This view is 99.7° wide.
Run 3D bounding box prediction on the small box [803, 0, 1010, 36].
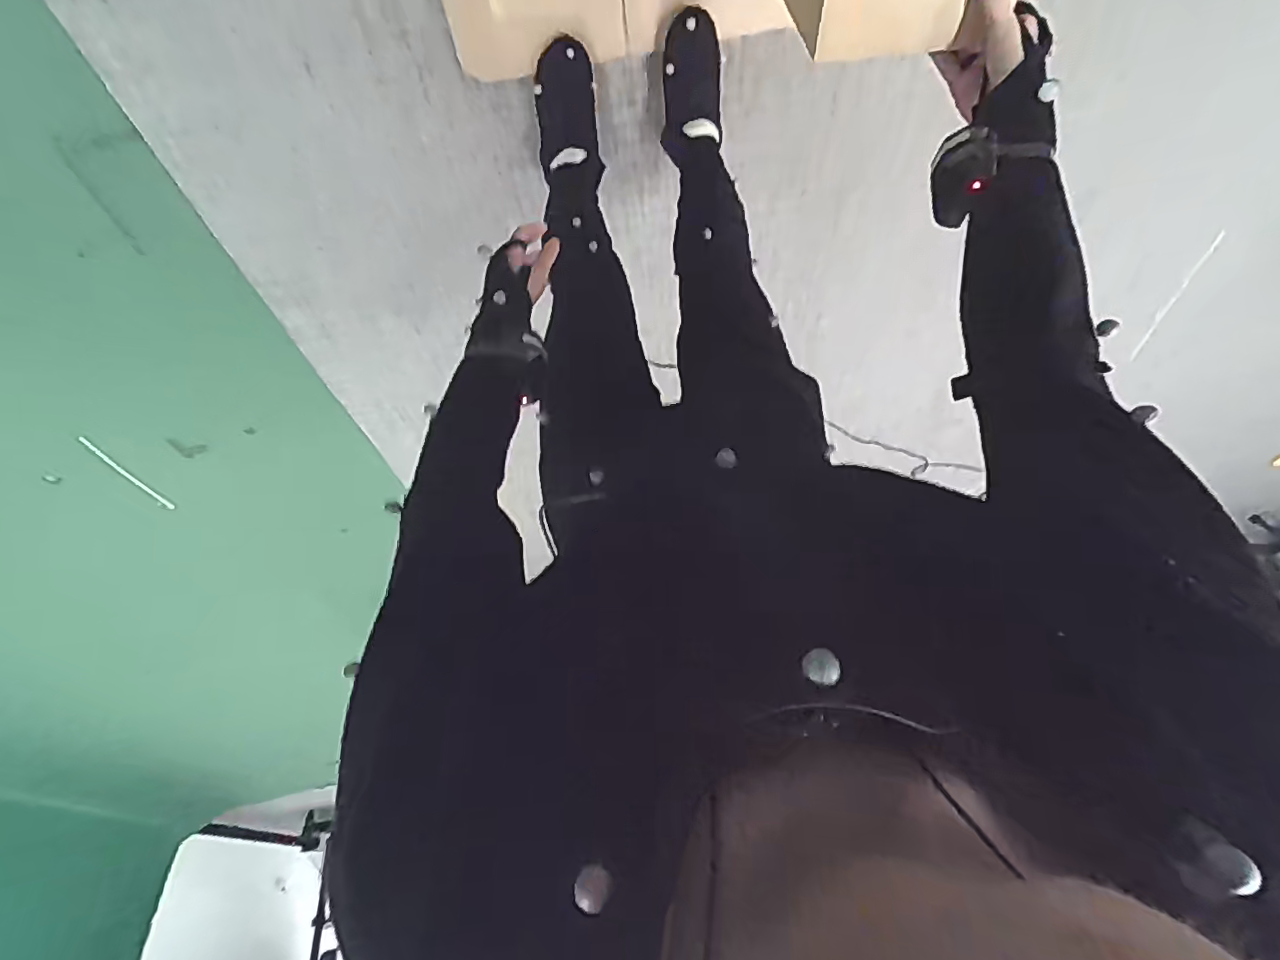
[{"bbox_3d":[0.227,-0.509,0.443,0.168,0.176,0.179,-3,147,3],"label":"small box"}]
